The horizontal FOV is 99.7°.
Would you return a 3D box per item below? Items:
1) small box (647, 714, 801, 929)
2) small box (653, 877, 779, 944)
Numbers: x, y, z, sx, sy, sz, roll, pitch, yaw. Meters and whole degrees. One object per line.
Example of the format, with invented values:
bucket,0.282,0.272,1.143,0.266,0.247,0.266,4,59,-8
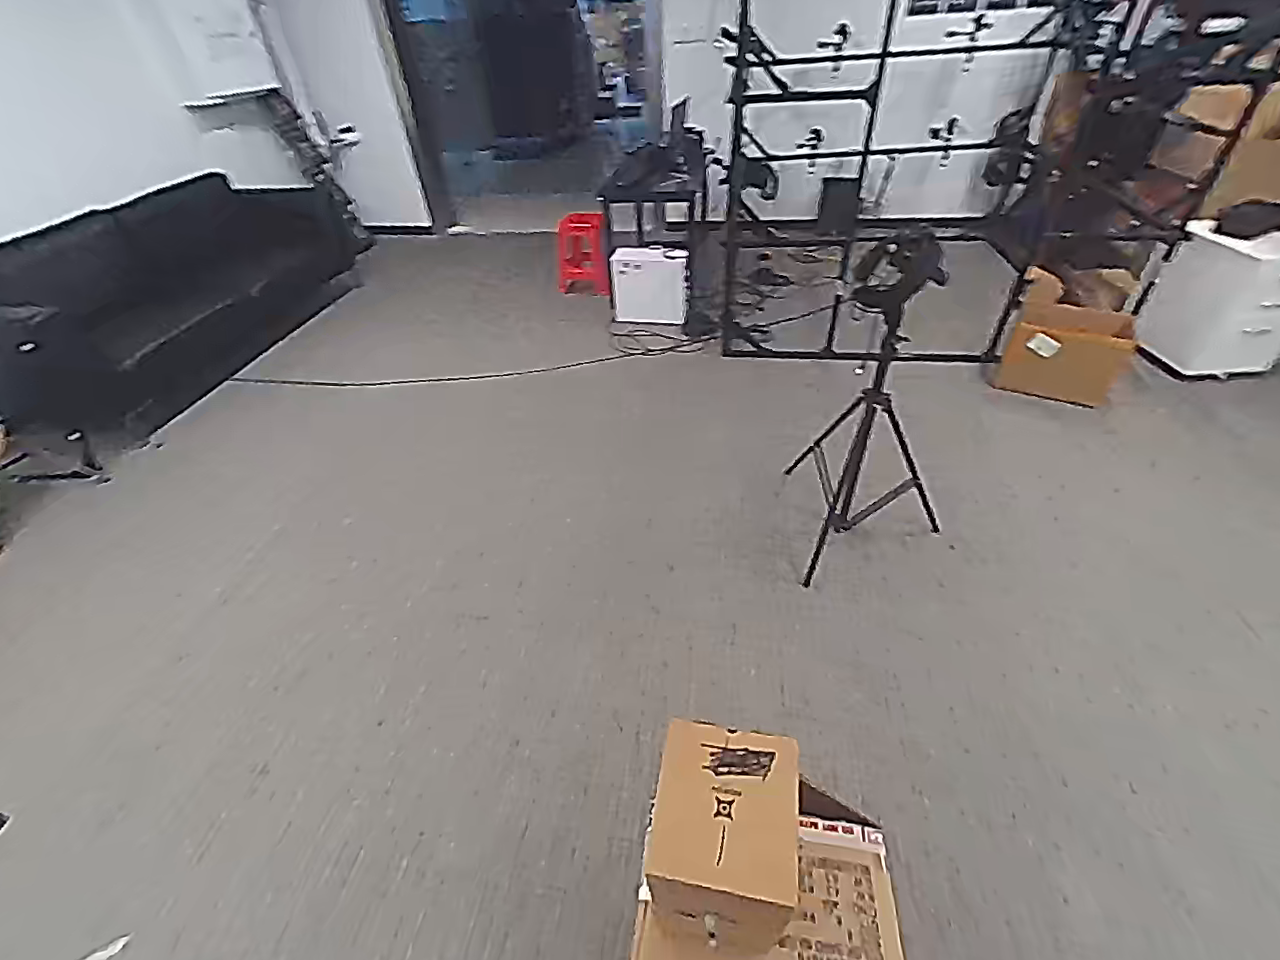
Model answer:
small box,0.110,0.432,0.689,0.168,0.176,0.179,5,44,13
small box,0.116,0.551,0.802,0.168,0.176,0.179,2,43,10
